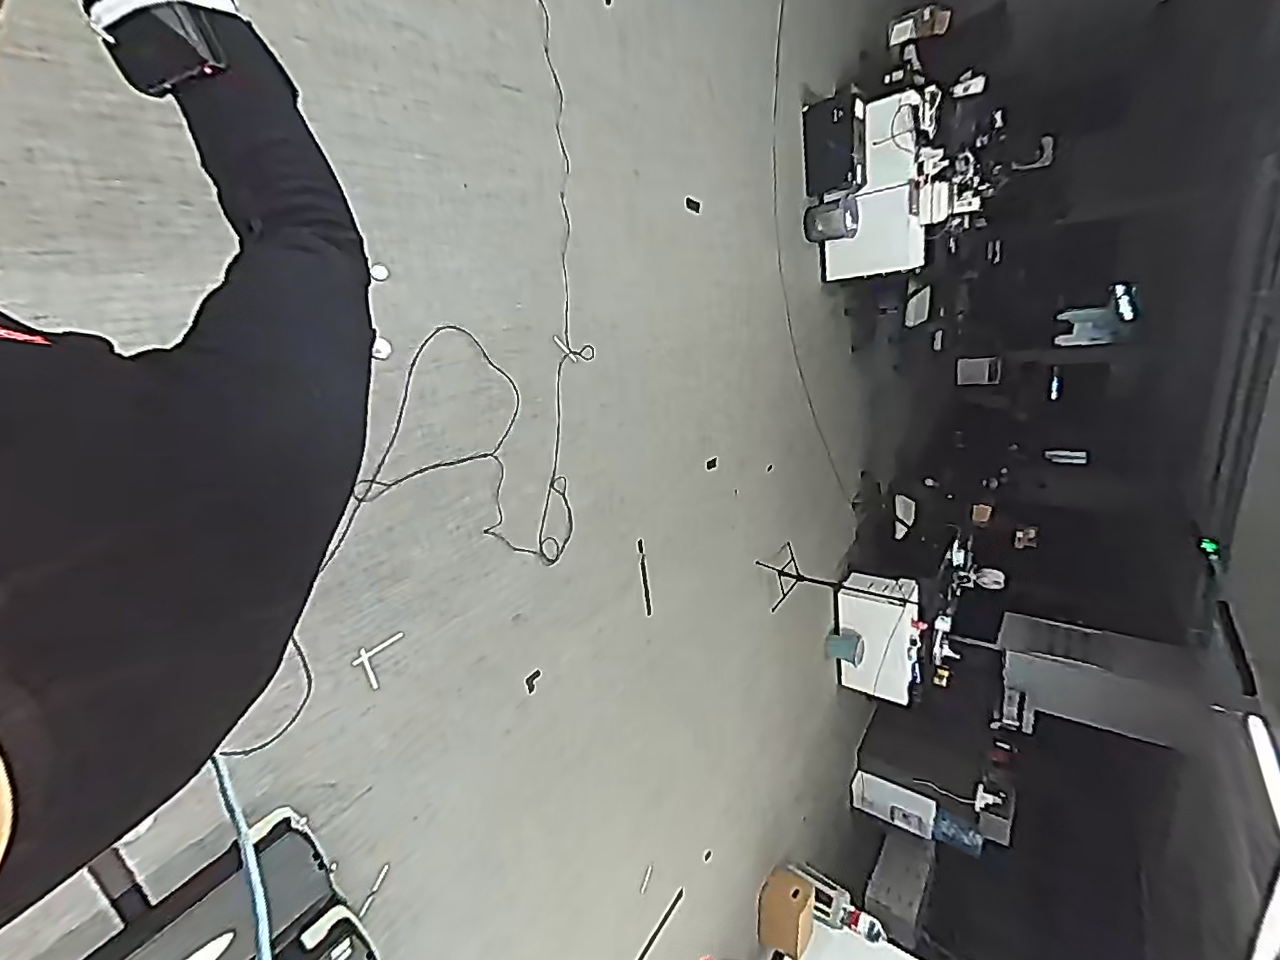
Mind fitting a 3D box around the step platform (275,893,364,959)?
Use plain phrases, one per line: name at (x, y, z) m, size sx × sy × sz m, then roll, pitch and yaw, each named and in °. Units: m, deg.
step platform at (-1.005, 1.383, 1.258) m, size 0.684 × 0.204 × 0.286 m, roll -32°, pitch 119°, yaw -44°
